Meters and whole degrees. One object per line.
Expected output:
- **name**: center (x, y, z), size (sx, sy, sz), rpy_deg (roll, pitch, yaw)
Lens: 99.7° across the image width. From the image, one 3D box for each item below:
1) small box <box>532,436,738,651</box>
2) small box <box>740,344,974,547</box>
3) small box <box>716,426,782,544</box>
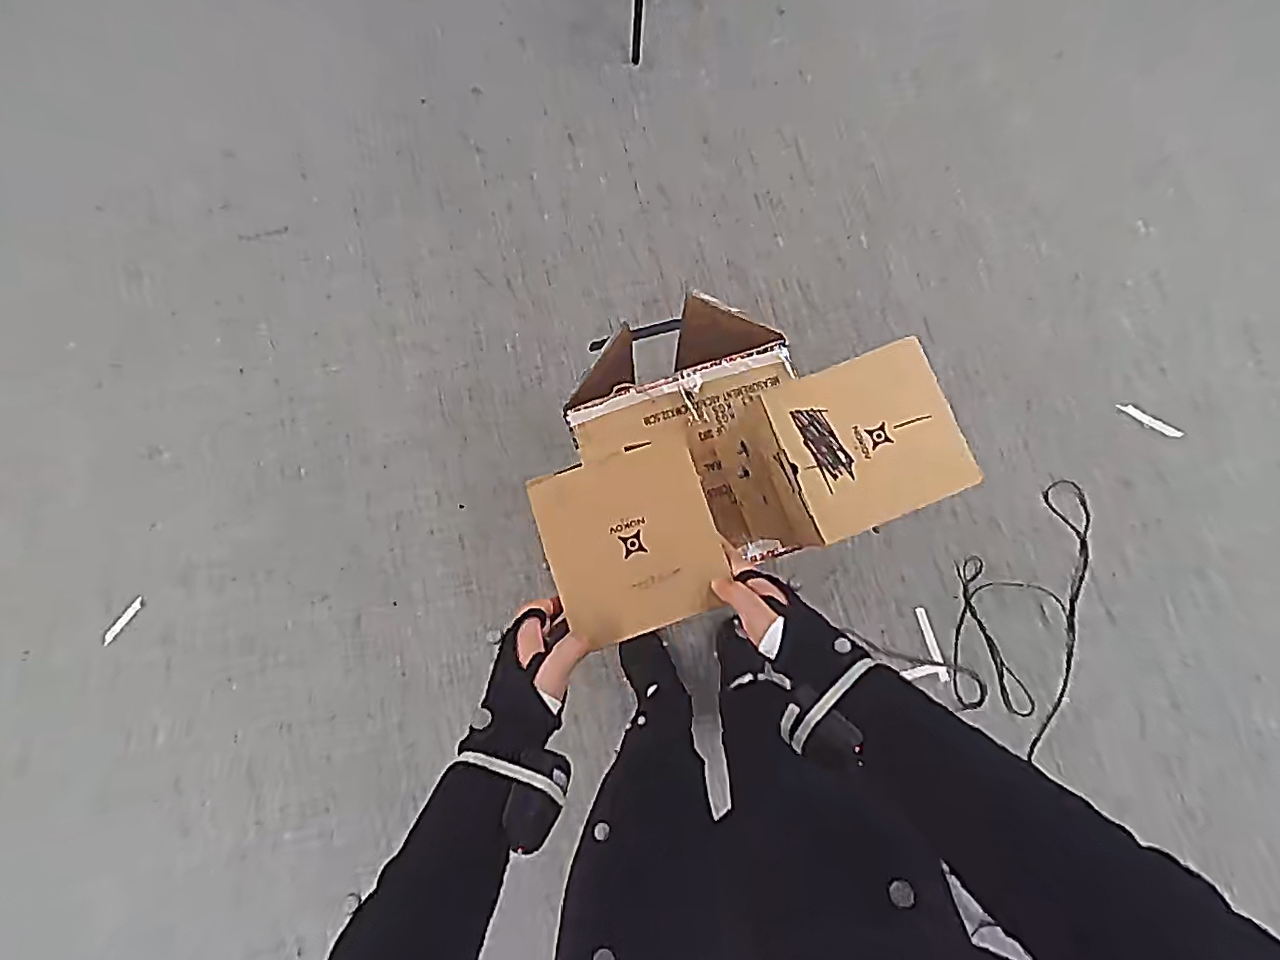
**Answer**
- **small box**: center (-0.009, 0.071, 0.614), size (0.168, 0.176, 0.179), rpy_deg (-19, 84, -3)
- **small box**: center (0.228, -0.027, 0.626), size (0.179, 0.176, 0.168), rpy_deg (-22, 85, -2)
- **small box**: center (0.228, -0.015, 0.793), size (0.179, 0.176, 0.168), rpy_deg (-22, 84, -2)
